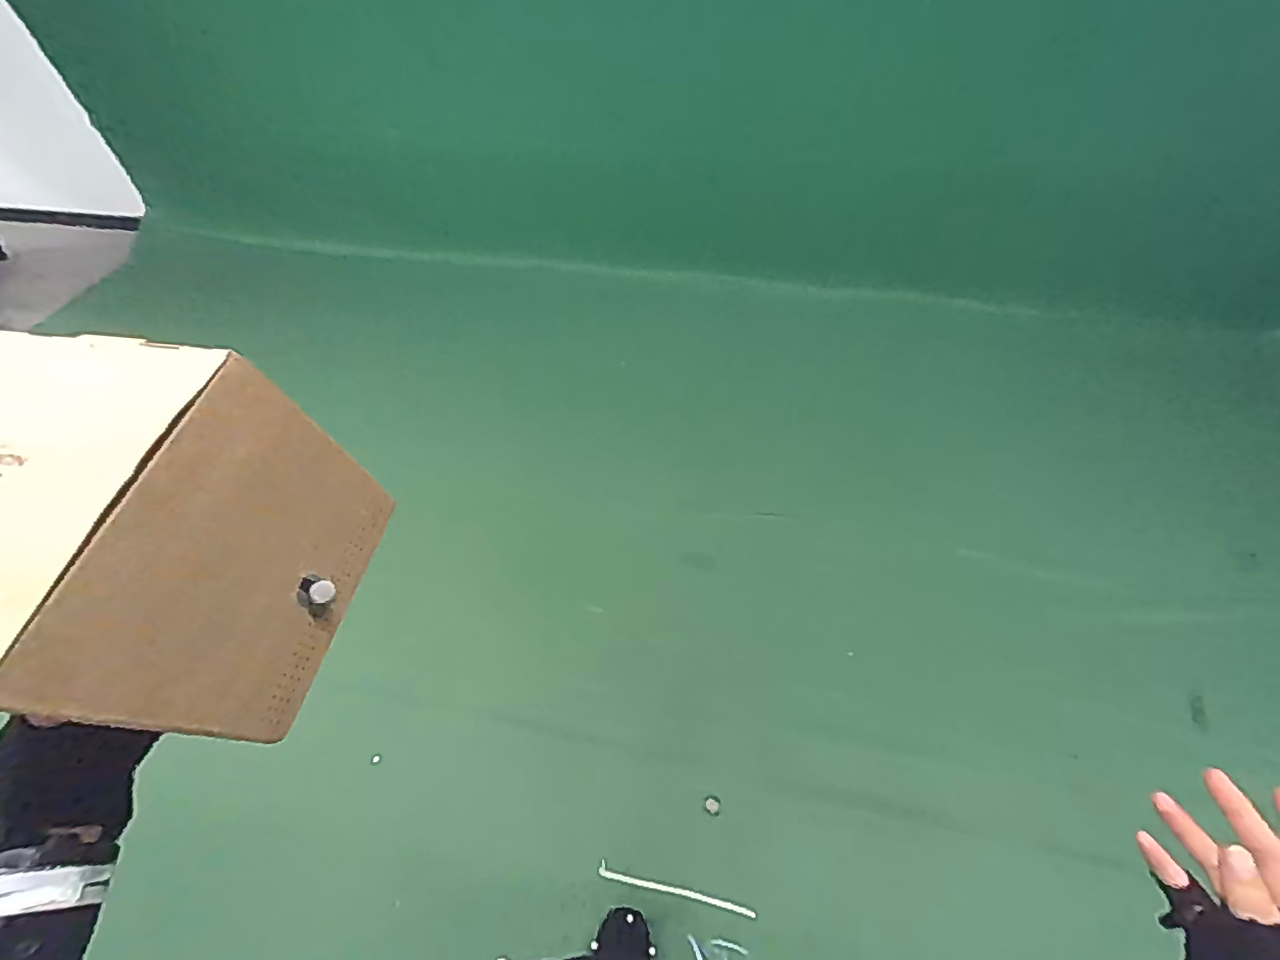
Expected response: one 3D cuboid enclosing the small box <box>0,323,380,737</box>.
[{"bbox_3d":[-0.289,0.034,0.317,0.168,0.176,0.179,6,61,13],"label":"small box"}]
